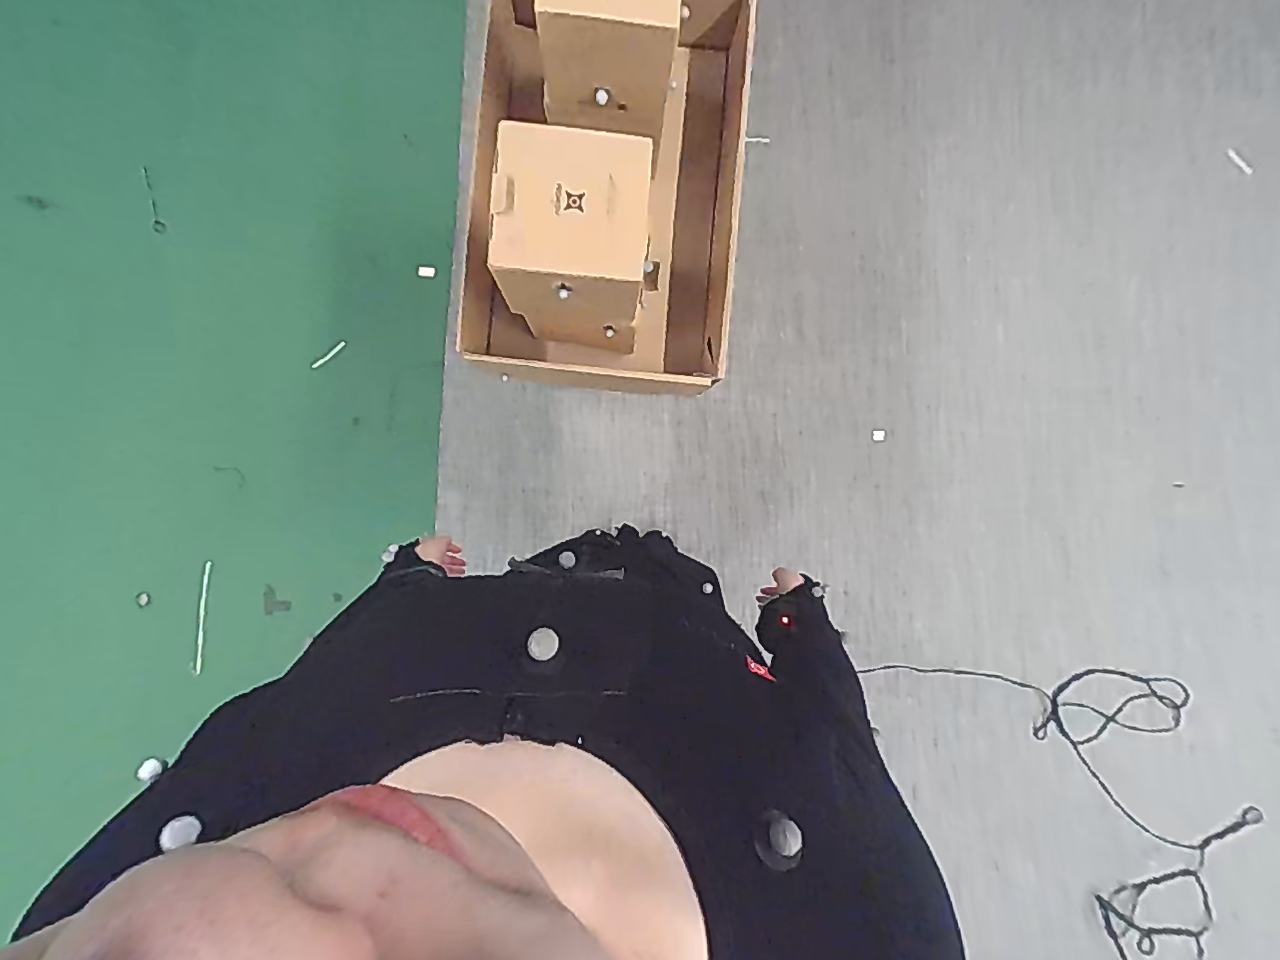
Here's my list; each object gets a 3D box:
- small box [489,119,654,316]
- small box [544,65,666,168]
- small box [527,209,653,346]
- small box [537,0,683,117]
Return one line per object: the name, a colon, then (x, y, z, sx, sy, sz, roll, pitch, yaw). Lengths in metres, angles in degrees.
small box: (-0.082, -0.317, 0.688, 0.179, 0.176, 0.168, 4, 91, -5)
small box: (-0.046, -0.615, 0.846, 0.179, 0.176, 0.168, 6, 92, -3)
small box: (-0.083, -0.321, 0.850, 0.179, 0.176, 0.168, 8, 89, -4)
small box: (-0.033, -0.606, 0.682, 0.168, 0.176, 0.179, 5, 92, -4)
